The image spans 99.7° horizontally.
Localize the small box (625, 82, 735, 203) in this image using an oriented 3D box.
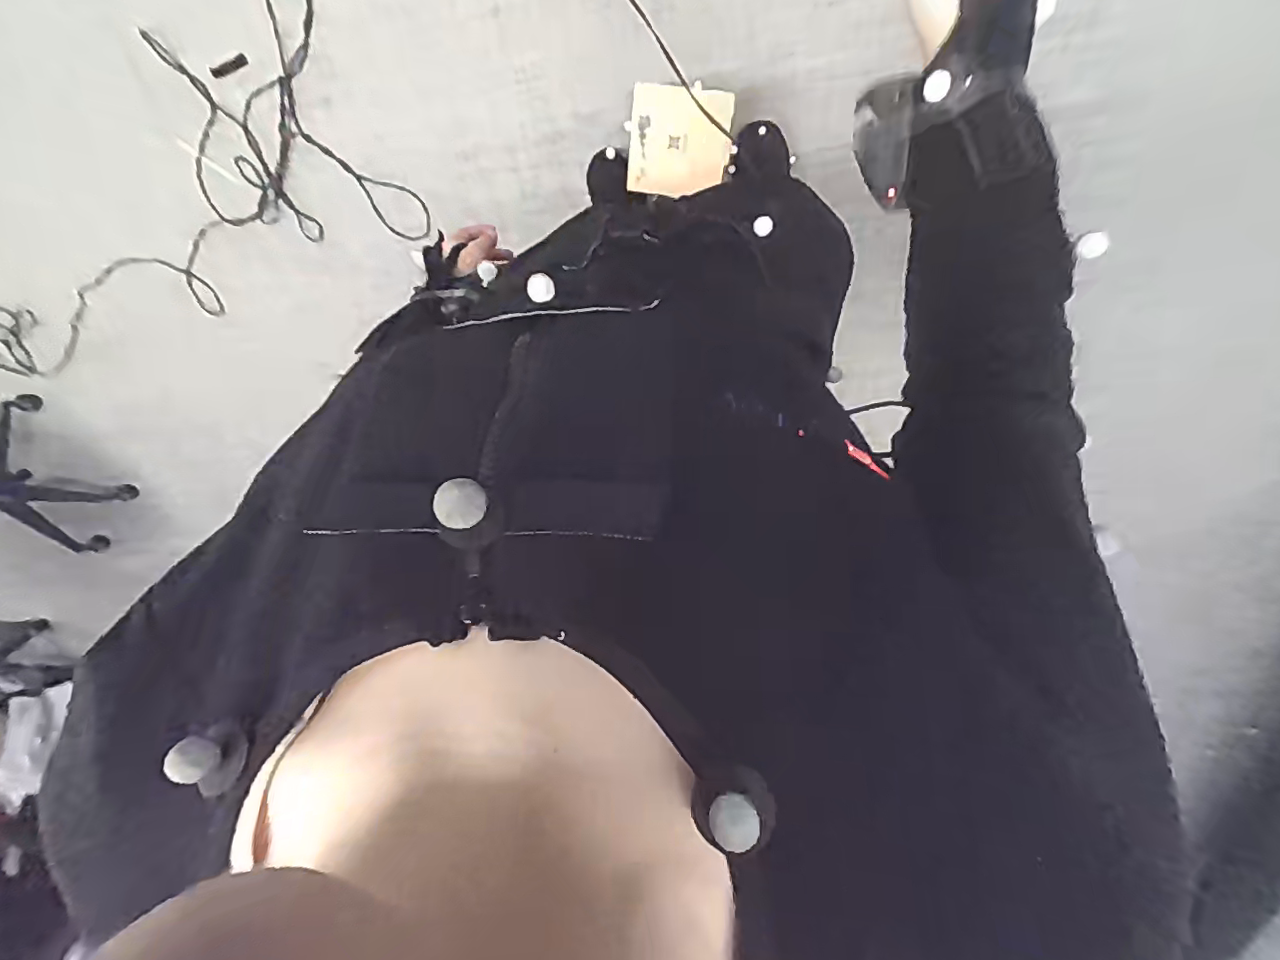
[{"bbox_3d":[0.075,-0.631,1.012,0.179,0.176,0.168,9,123,3],"label":"small box"}]
